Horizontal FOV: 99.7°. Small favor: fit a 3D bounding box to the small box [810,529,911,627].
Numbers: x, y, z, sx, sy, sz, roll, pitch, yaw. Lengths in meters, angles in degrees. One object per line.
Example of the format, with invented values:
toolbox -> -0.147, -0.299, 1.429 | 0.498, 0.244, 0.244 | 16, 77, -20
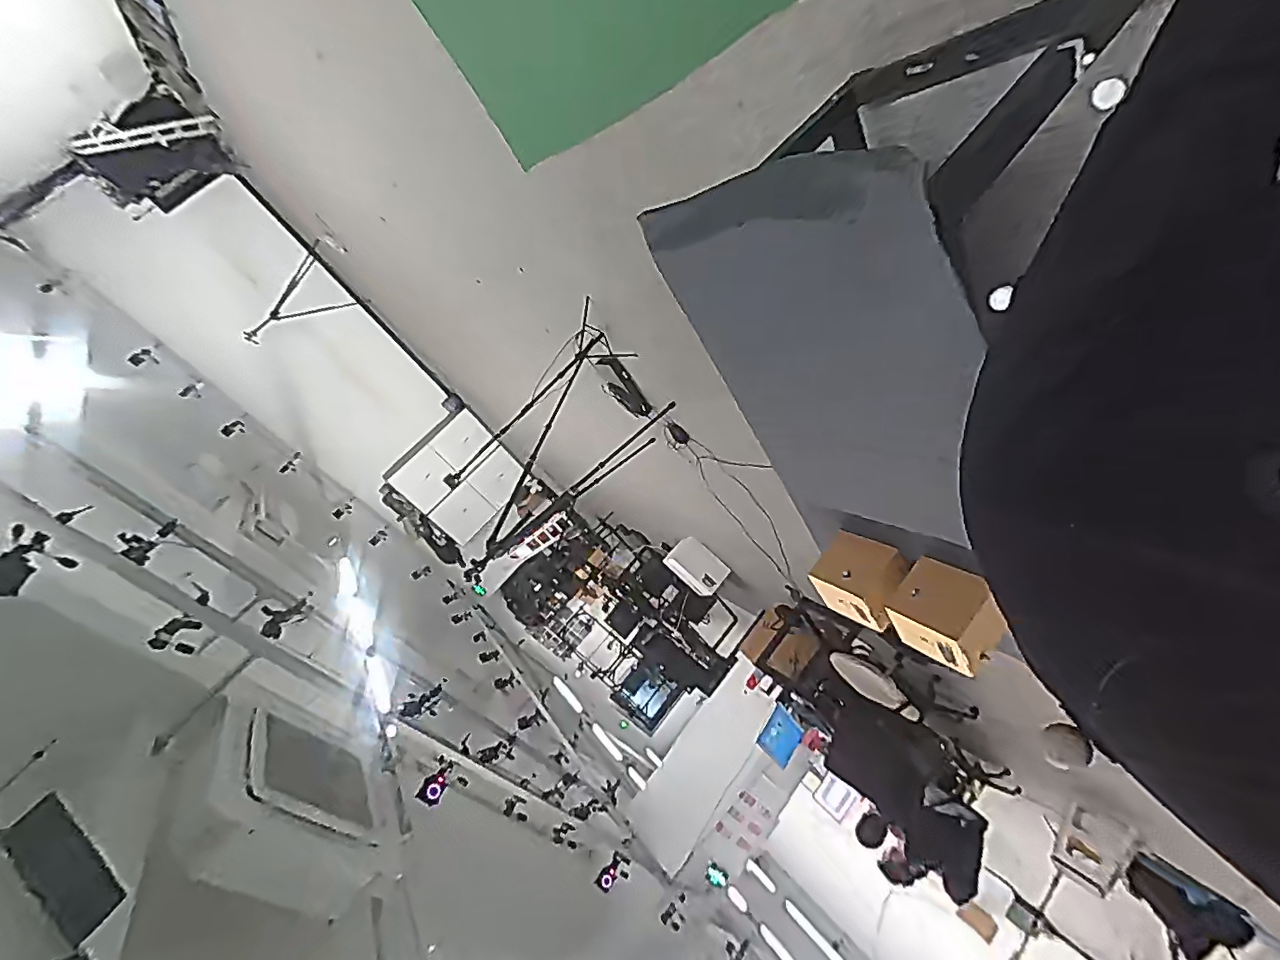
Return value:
small box -> 0.601, 0.255, 1.453 | 0.179, 0.176, 0.168 | 21, 155, 55
